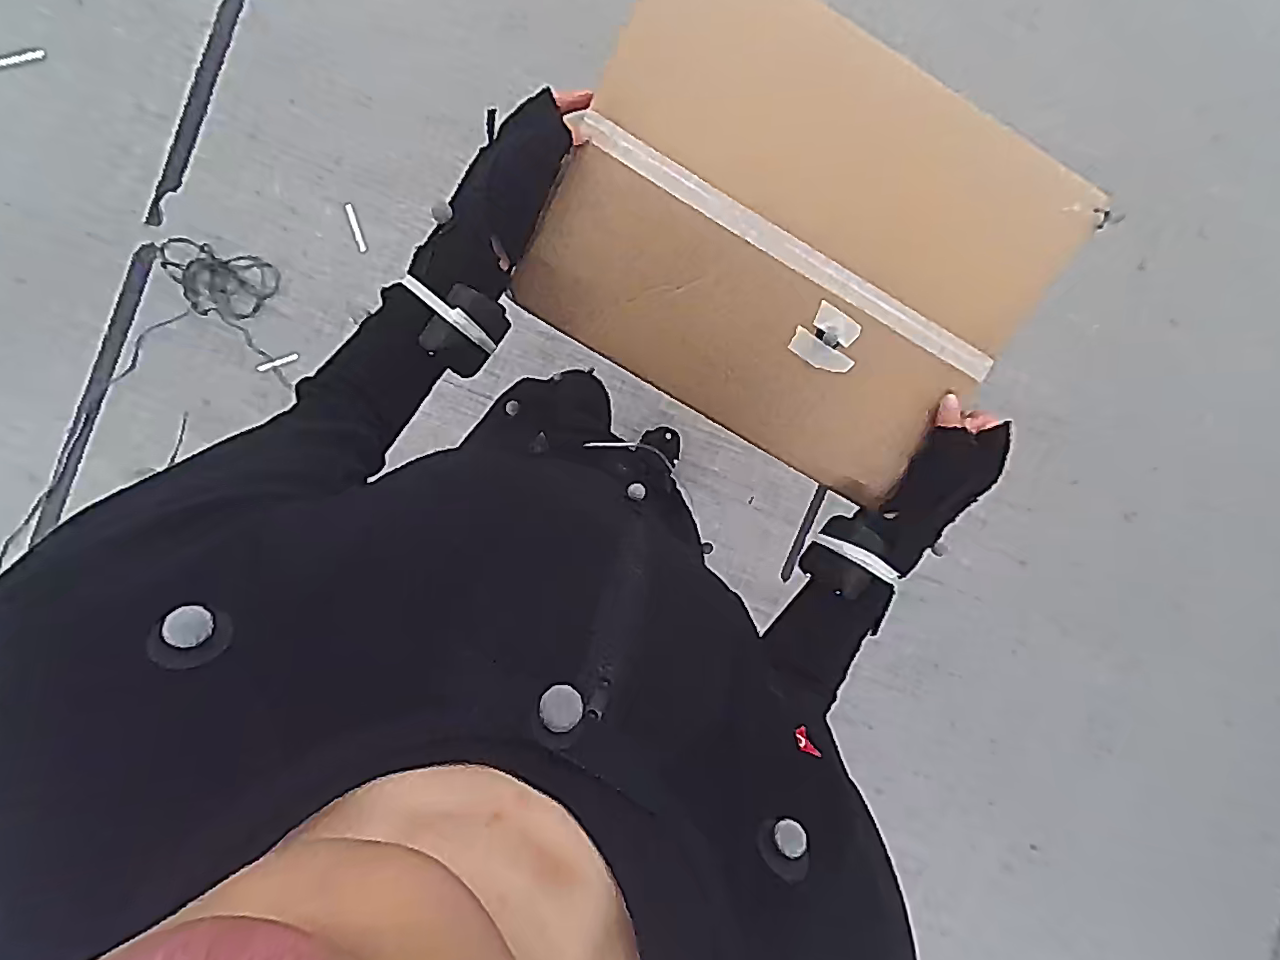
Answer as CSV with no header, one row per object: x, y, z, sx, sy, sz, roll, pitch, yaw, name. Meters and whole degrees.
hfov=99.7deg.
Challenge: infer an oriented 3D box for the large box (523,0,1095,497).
0.141,-0.242,0.614,0.408,0.320,0.320,29,107,-6,large box
